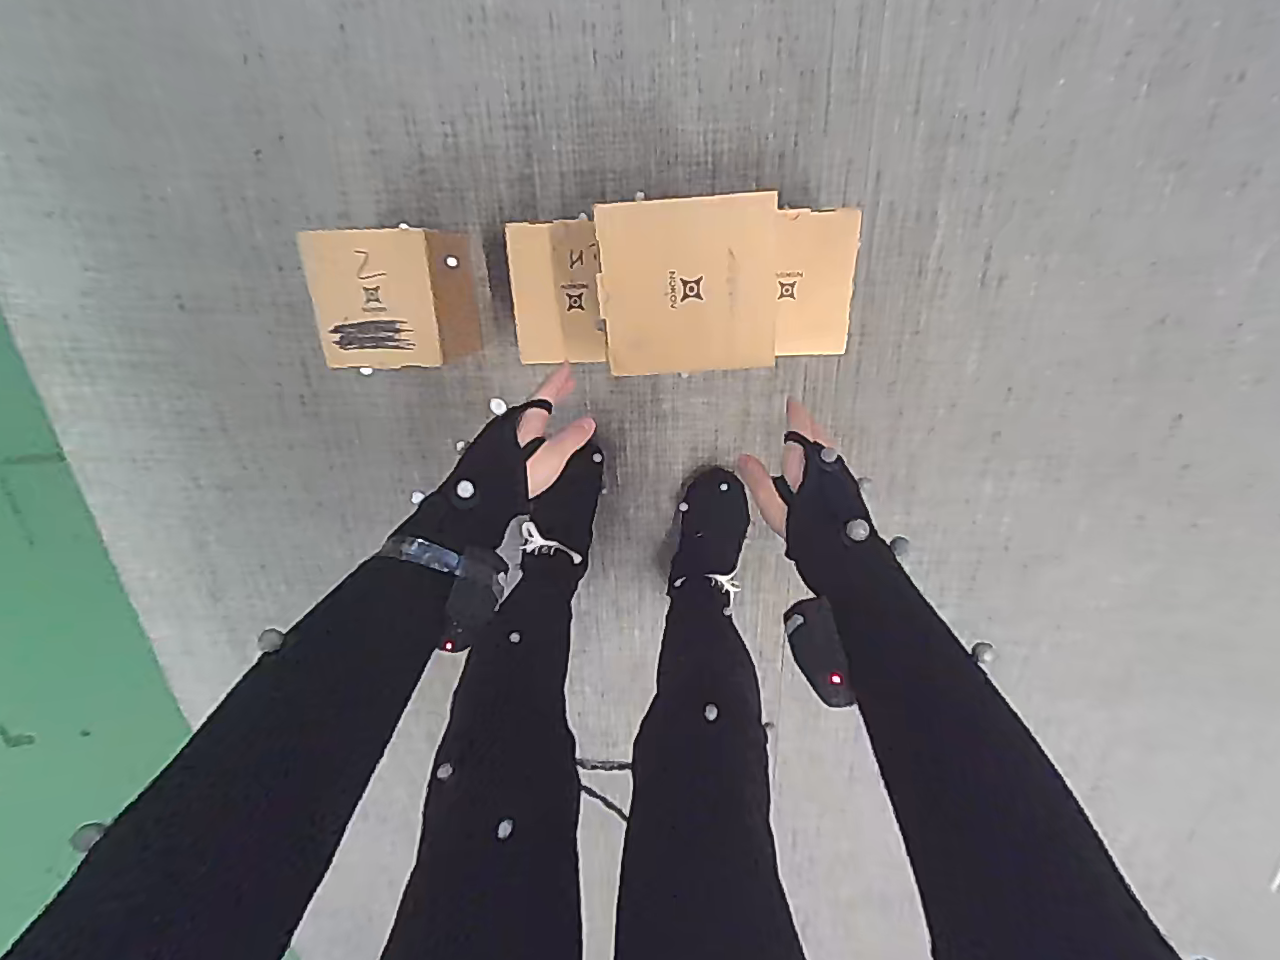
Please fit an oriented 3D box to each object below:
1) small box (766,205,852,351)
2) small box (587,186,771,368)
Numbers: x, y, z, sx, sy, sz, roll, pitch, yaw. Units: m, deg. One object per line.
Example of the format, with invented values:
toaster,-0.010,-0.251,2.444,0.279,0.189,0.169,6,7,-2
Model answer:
small box,0.180,-0.283,0.760,0.168,0.176,0.179,-1,112,2
small box,0.041,-0.225,0.611,0.179,0.176,0.168,-3,112,1
